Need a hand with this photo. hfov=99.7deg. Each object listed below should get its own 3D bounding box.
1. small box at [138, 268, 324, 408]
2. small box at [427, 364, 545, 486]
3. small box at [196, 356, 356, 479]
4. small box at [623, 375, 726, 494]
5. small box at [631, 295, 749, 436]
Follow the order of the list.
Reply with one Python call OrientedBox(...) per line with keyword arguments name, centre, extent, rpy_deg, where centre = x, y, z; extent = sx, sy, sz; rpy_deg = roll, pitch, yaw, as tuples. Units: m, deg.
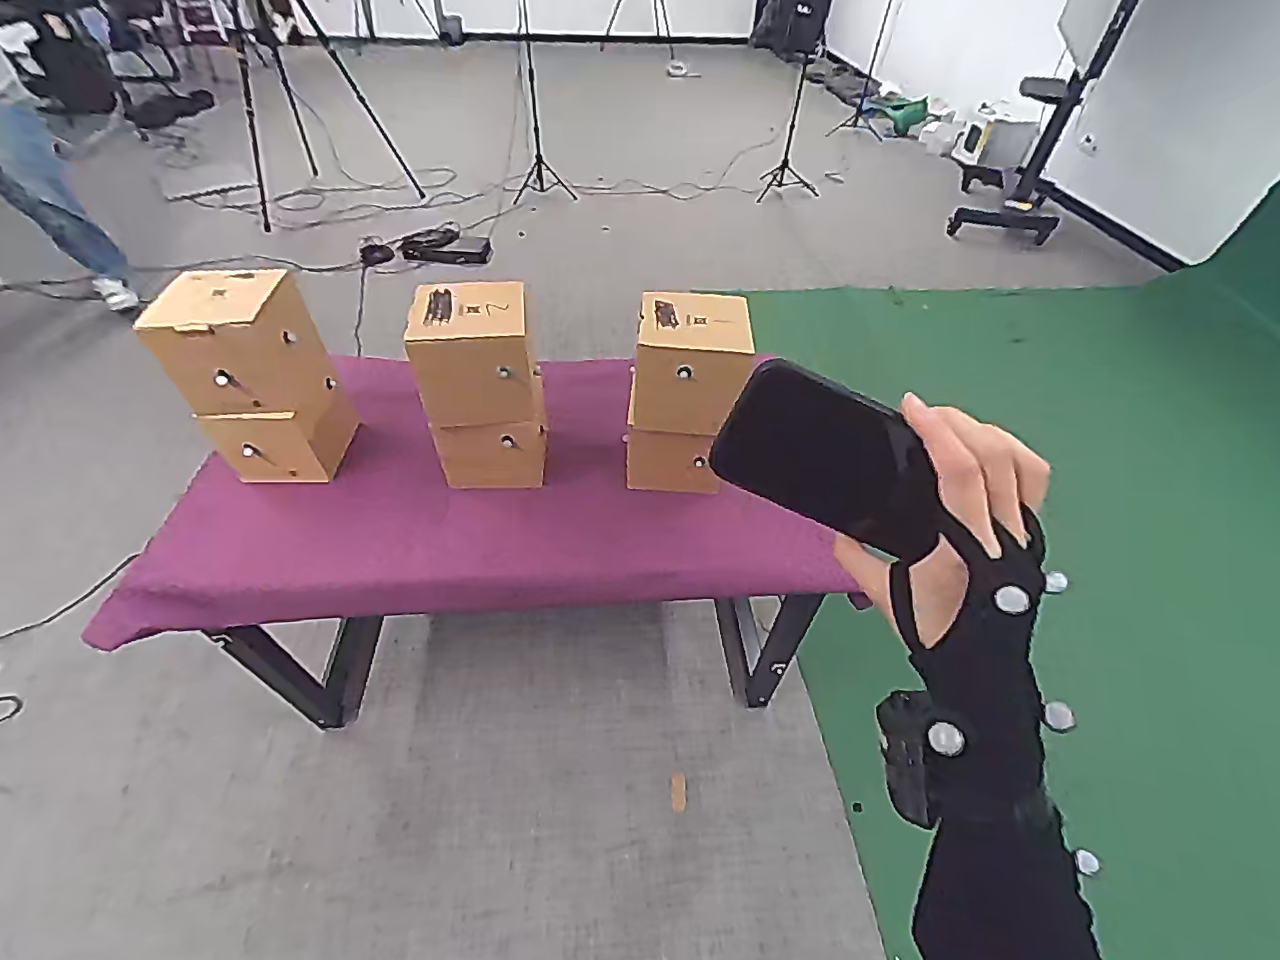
OrientedBox(name="small box", centre=(-0.663, -0.233, 0.907), extent=(0.168, 0.176, 0.179), rpy_deg=(-3, 48, -6))
OrientedBox(name="small box", centre=(-0.277, -0.101, 1.025), extent=(0.179, 0.176, 0.168), rpy_deg=(0, 47, -3))
OrientedBox(name="small box", centre=(-0.668, -0.116, 1.022), extent=(0.168, 0.176, 0.179), rpy_deg=(0, 47, -2))
OrientedBox(name="small box", centre=(0.063, -0.089, 1.033), extent=(0.179, 0.176, 0.168), rpy_deg=(4, 47, 2))
OrientedBox(name="small box", centre=(0.078, -0.189, 0.903), extent=(0.179, 0.176, 0.168), rpy_deg=(5, 47, 1))
